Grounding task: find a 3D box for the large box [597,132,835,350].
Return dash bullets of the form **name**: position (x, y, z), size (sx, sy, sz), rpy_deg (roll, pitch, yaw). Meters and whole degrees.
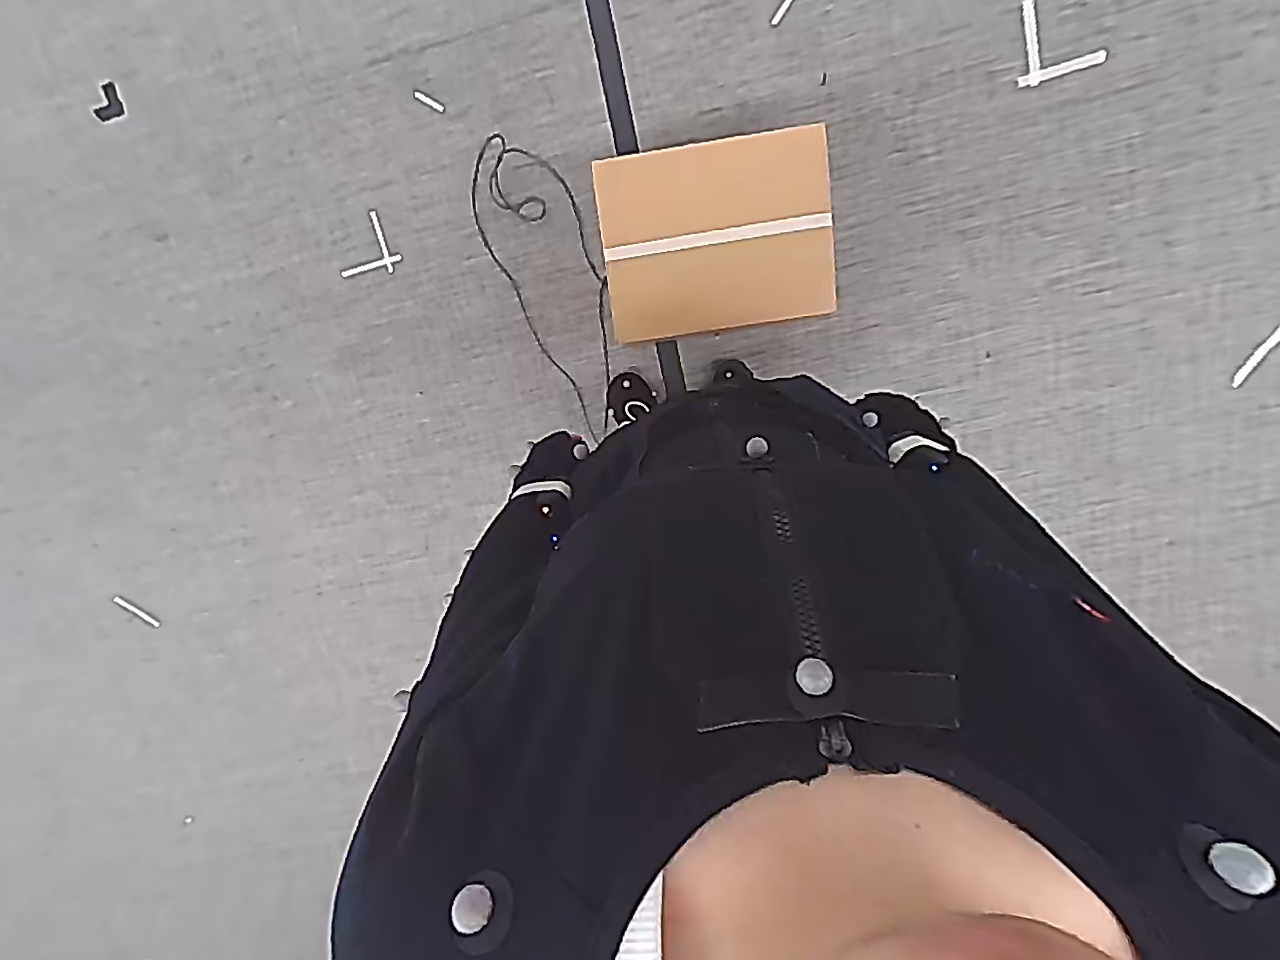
- **large box**: position (0.144, -0.453, 1.110), size (0.408, 0.320, 0.320), rpy_deg (-7, 103, 4)
